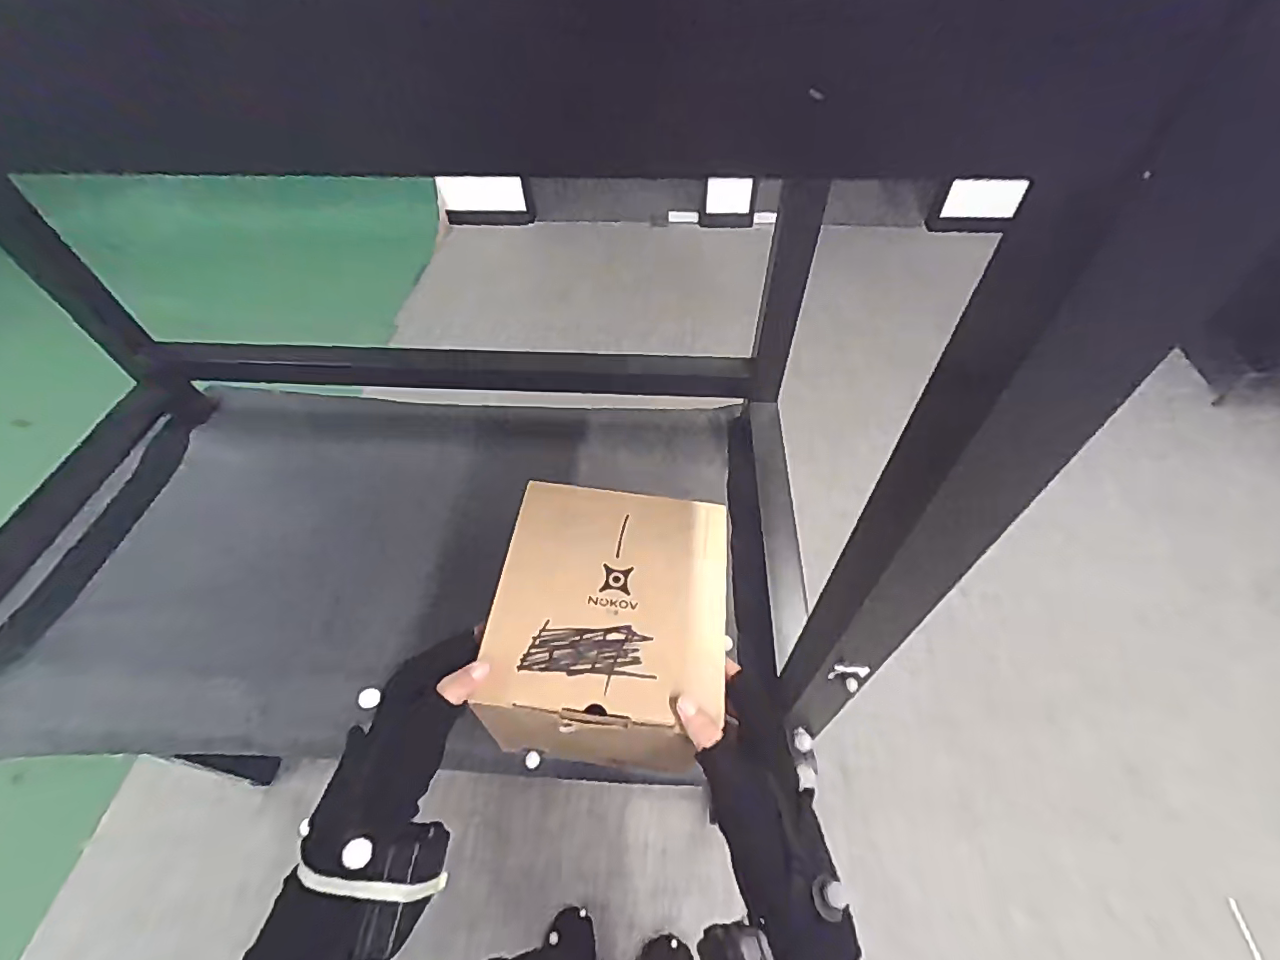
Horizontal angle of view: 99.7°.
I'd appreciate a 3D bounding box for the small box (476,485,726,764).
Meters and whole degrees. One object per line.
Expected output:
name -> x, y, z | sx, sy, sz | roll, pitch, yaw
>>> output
small box -> -0.024, 0.131, 0.469 | 0.168, 0.176, 0.179 | 8, 52, 1
